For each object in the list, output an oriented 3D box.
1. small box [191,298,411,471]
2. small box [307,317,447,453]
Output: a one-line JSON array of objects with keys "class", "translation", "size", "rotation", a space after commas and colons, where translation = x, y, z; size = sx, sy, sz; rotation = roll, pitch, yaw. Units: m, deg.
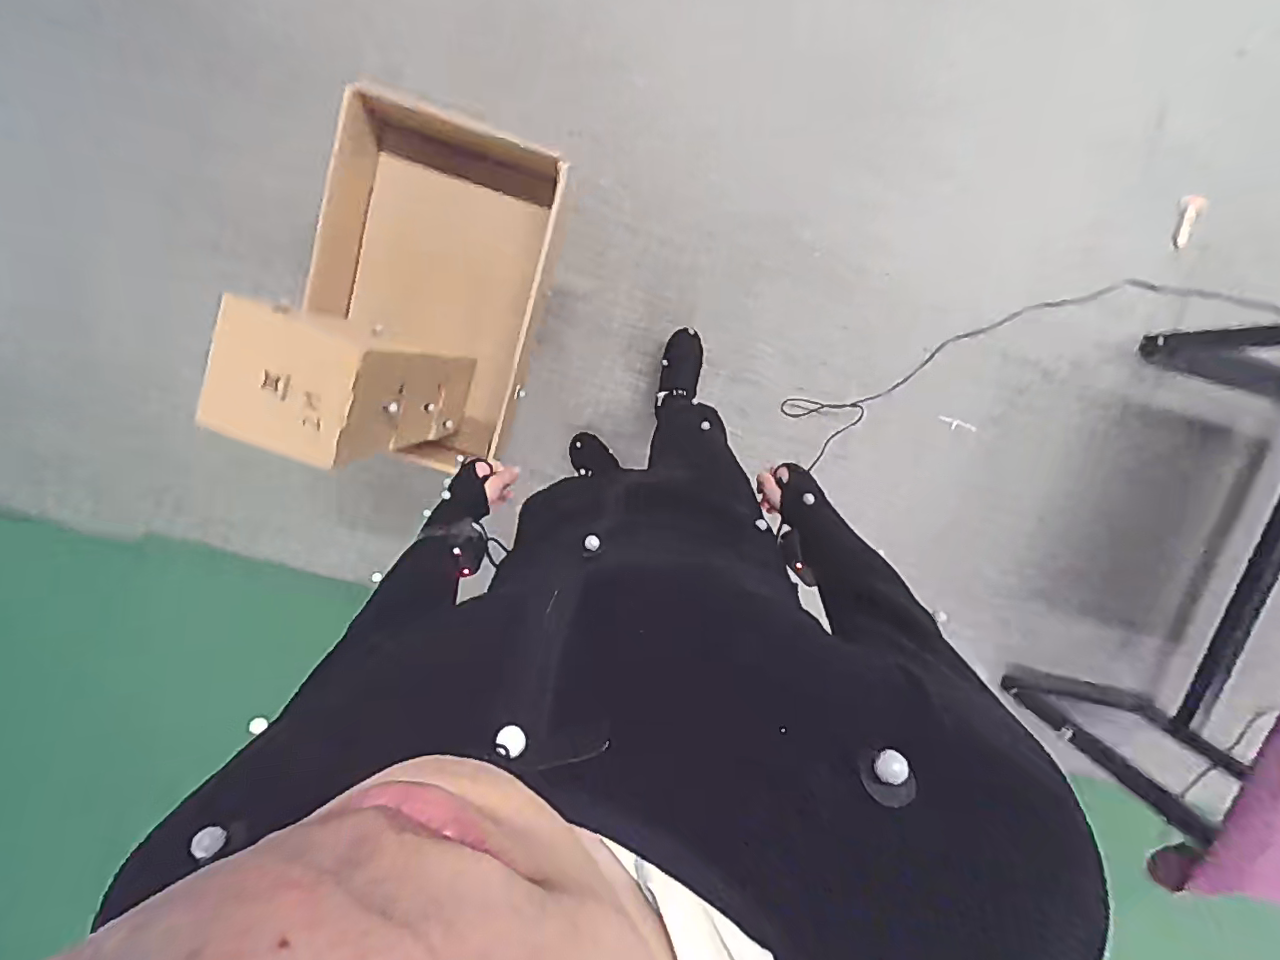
[{"class": "small box", "translation": [-0.448, -0.127, 0.741], "size": [0.179, 0.176, 0.168], "rotation": [20, 99, -5]}, {"class": "small box", "translation": [-0.451, -0.156, 0.903], "size": [0.179, 0.176, 0.168], "rotation": [18, 100, -4]}]
